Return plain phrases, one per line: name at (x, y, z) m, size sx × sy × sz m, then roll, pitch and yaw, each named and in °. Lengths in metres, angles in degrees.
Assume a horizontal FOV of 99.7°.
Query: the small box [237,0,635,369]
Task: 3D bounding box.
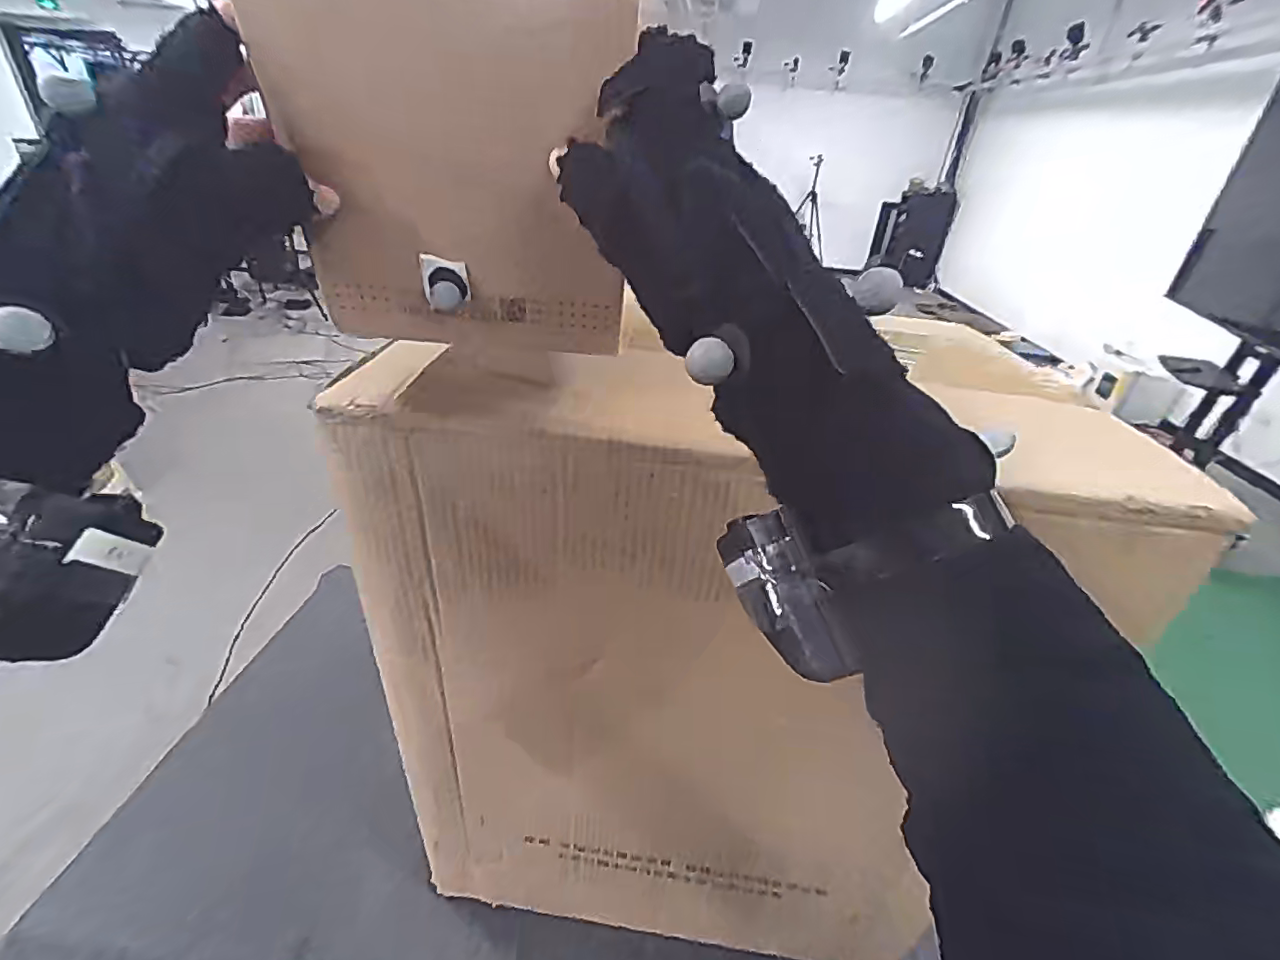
small box at (-0.090, -0.188, 0.333) m, size 0.168 × 0.176 × 0.179 m, roll 2°, pitch 43°, yaw -3°
